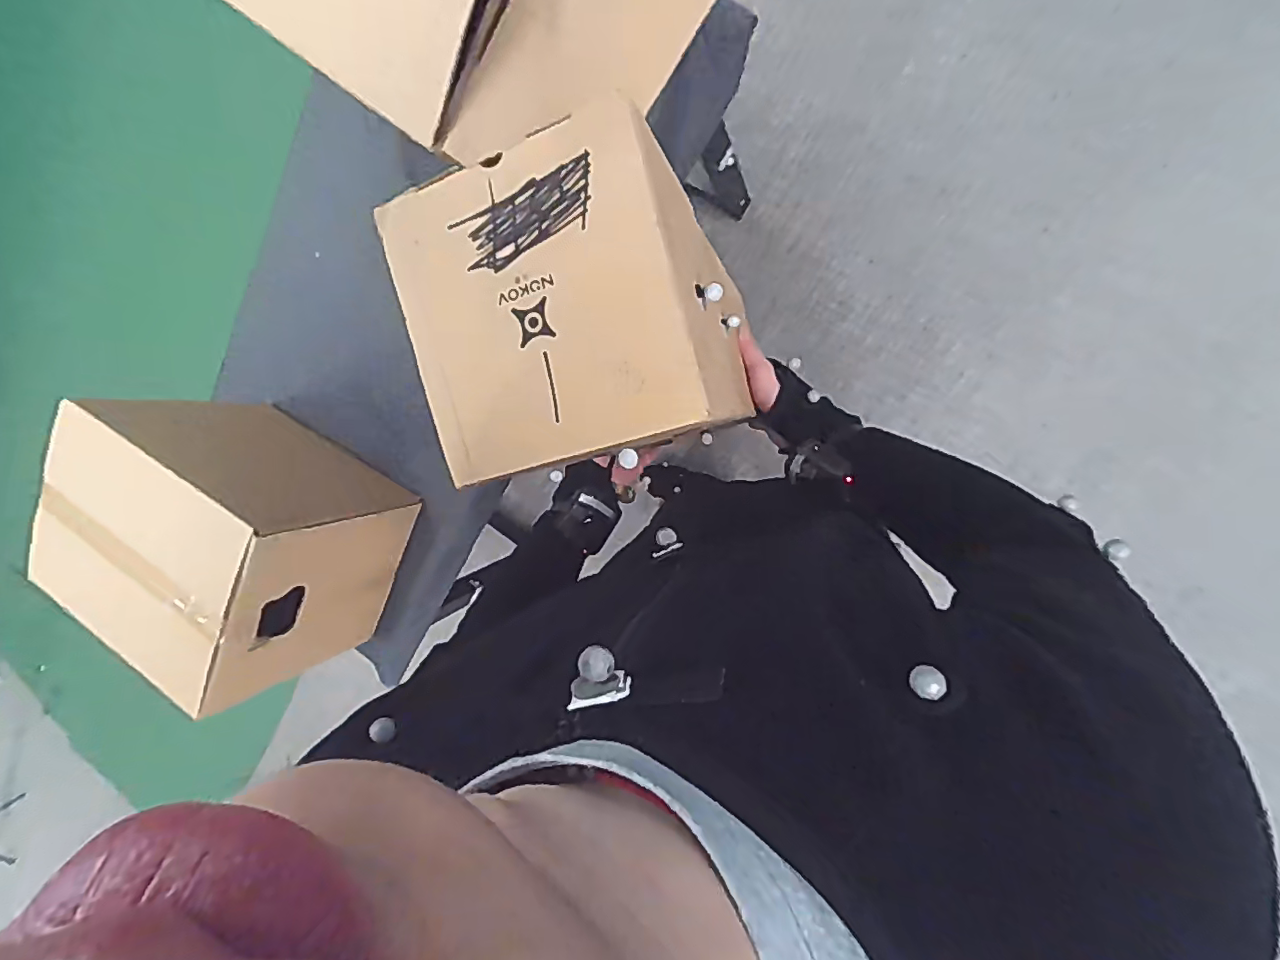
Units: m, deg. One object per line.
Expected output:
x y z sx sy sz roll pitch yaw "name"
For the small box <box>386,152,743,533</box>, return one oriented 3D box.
-0.033 -0.078 0.377 0.168 0.176 0.179 -13 95 19 "small box"
